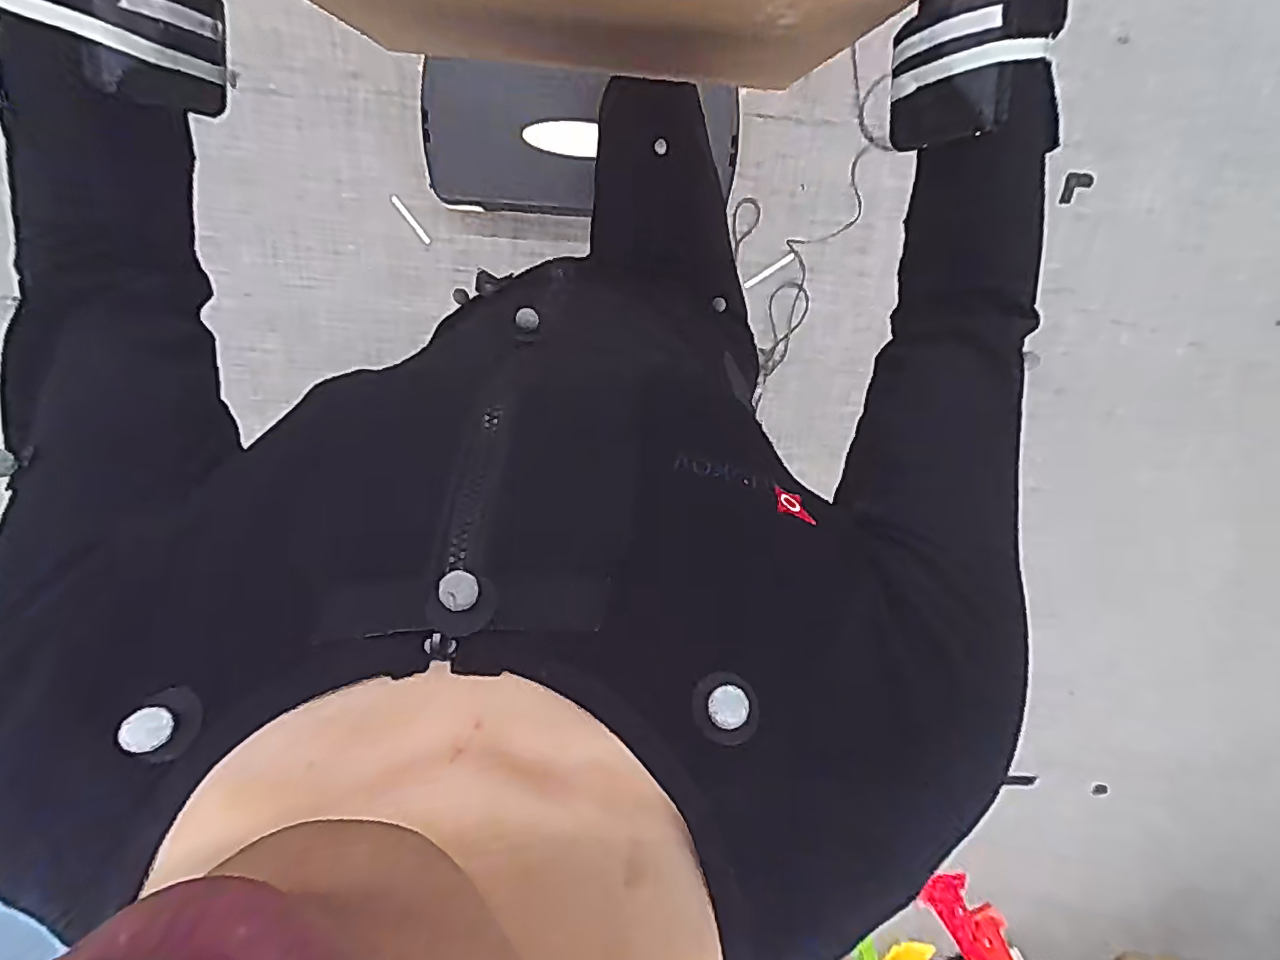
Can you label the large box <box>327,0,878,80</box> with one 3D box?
[{"bbox_3d":[-0.035,-0.488,0.350,0.408,0.320,0.320,2,117,-4],"label":"large box"}]
